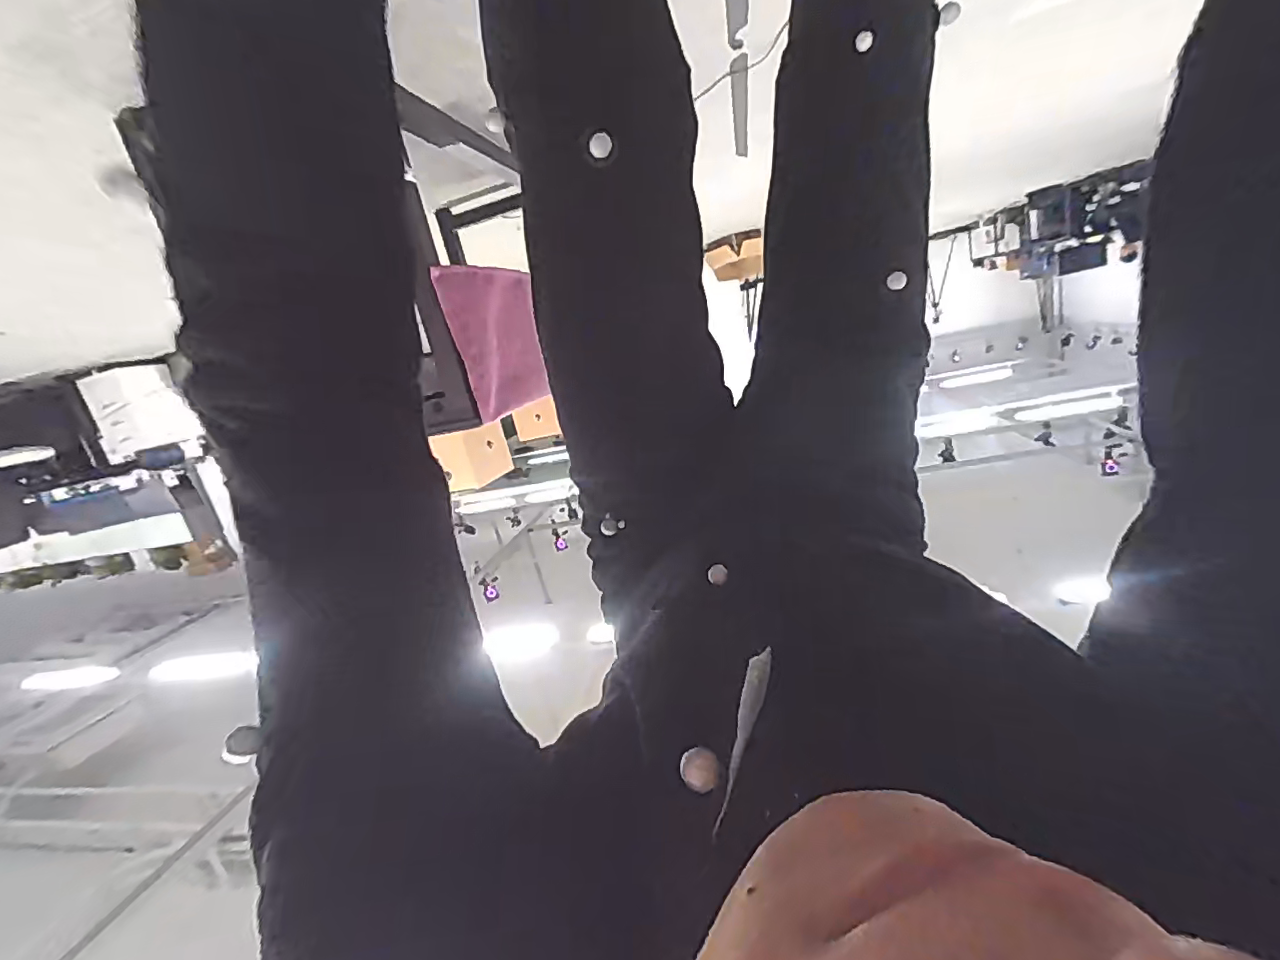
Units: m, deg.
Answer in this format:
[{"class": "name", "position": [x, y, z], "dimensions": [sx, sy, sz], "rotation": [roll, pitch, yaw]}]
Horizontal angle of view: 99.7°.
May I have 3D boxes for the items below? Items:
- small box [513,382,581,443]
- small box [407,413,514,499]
[{"class": "small box", "position": [-0.333, -0.242, 1.913], "dimensions": [0.179, 0.176, 0.168], "rotation": [-10, -165, 19]}, {"class": "small box", "position": [-0.454, -0.067, 1.372], "dimensions": [0.179, 0.176, 0.168], "rotation": [-8, -164, 21]}]
